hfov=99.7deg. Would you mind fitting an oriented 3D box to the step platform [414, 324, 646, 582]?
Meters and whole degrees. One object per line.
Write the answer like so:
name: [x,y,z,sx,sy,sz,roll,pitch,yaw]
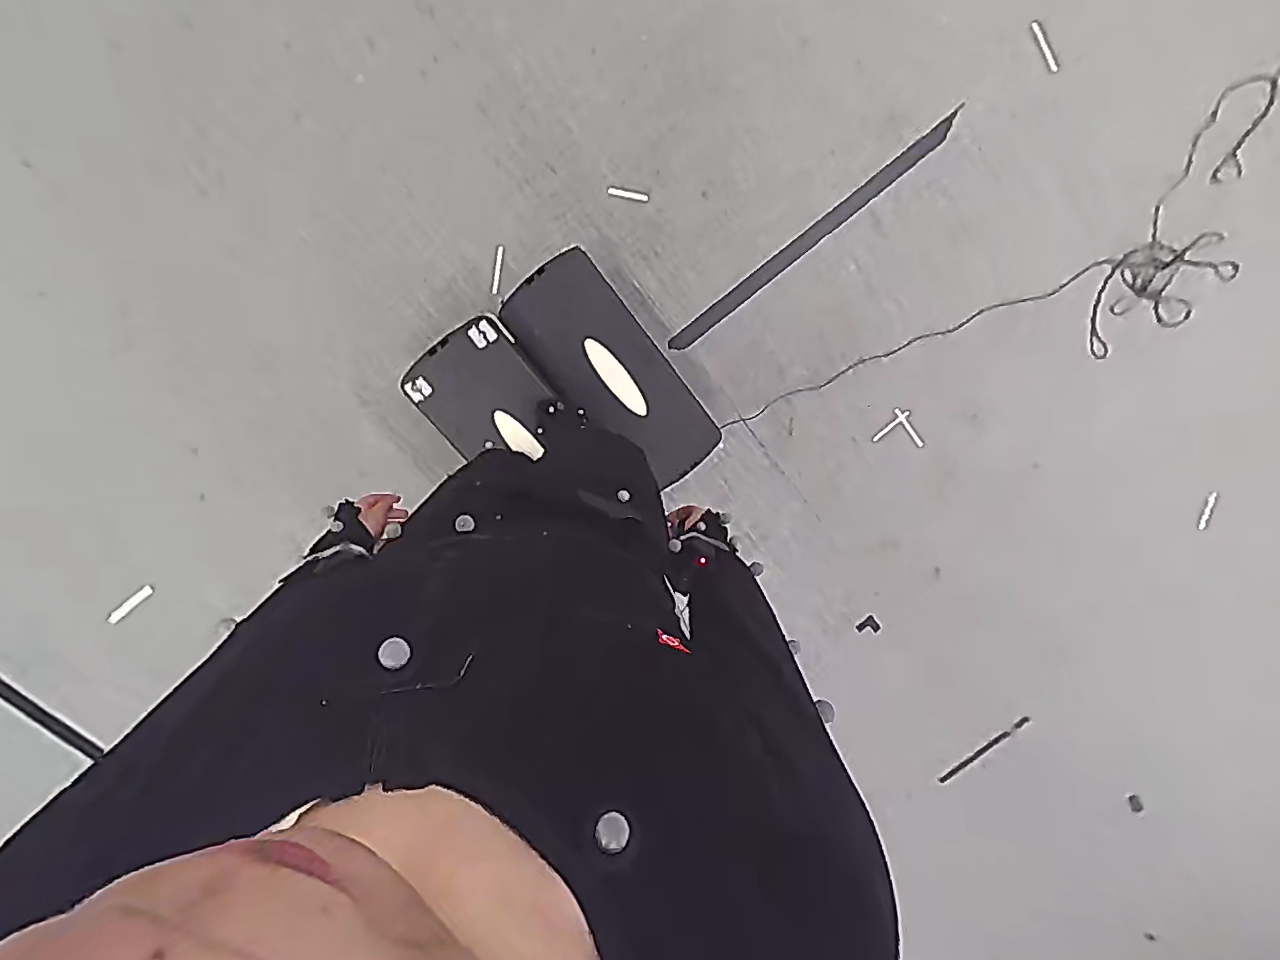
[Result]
step platform: [-0.274,-0.064,1.436,0.286,0.204,0.684,-35,102,0]
